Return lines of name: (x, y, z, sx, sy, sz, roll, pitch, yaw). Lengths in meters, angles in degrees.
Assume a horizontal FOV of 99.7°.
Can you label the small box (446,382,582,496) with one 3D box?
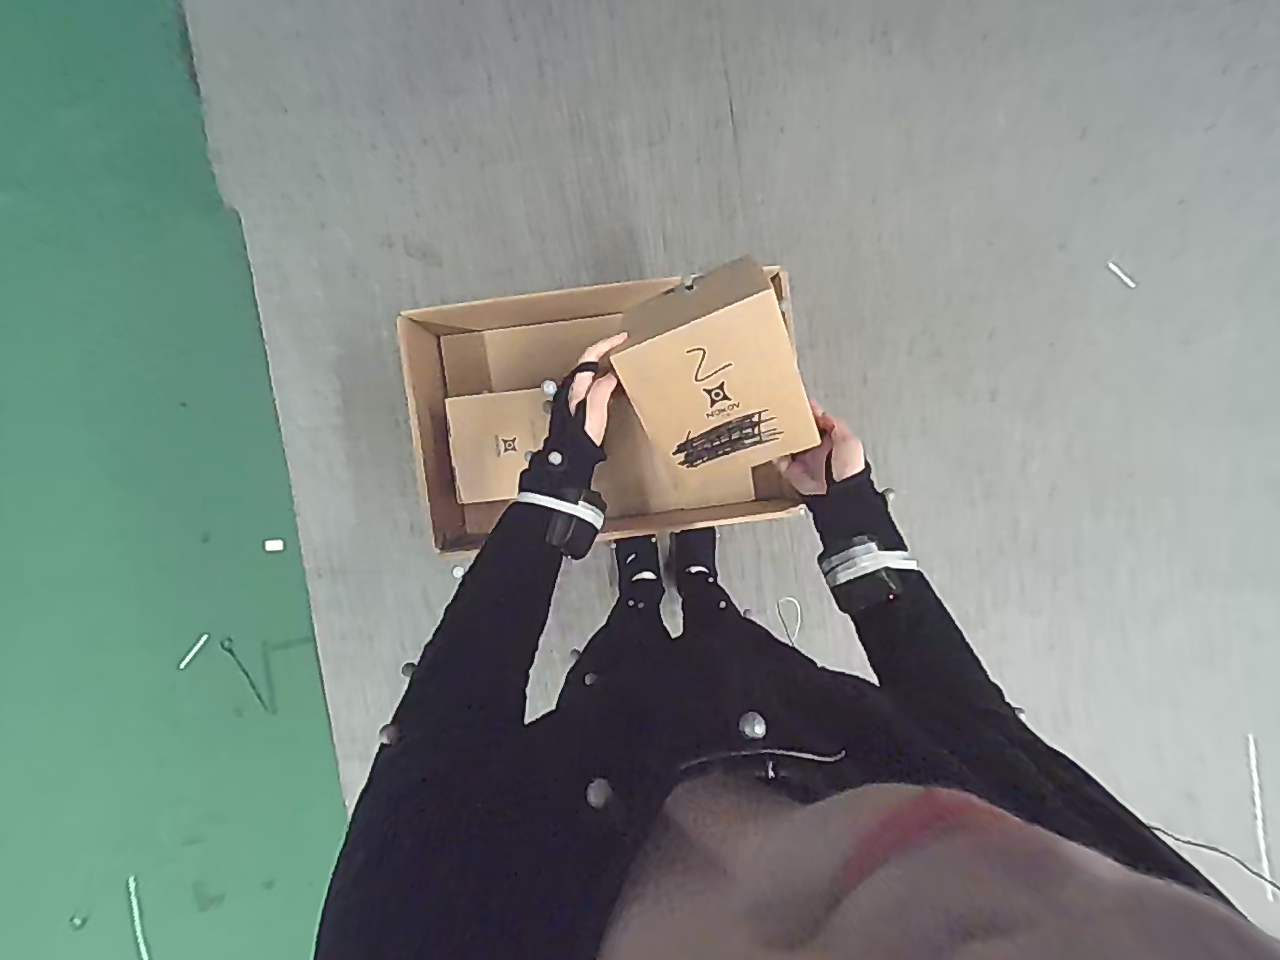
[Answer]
small box: (-0.200, -0.065, 0.901, 0.179, 0.176, 0.168, -5, 94, 2)
